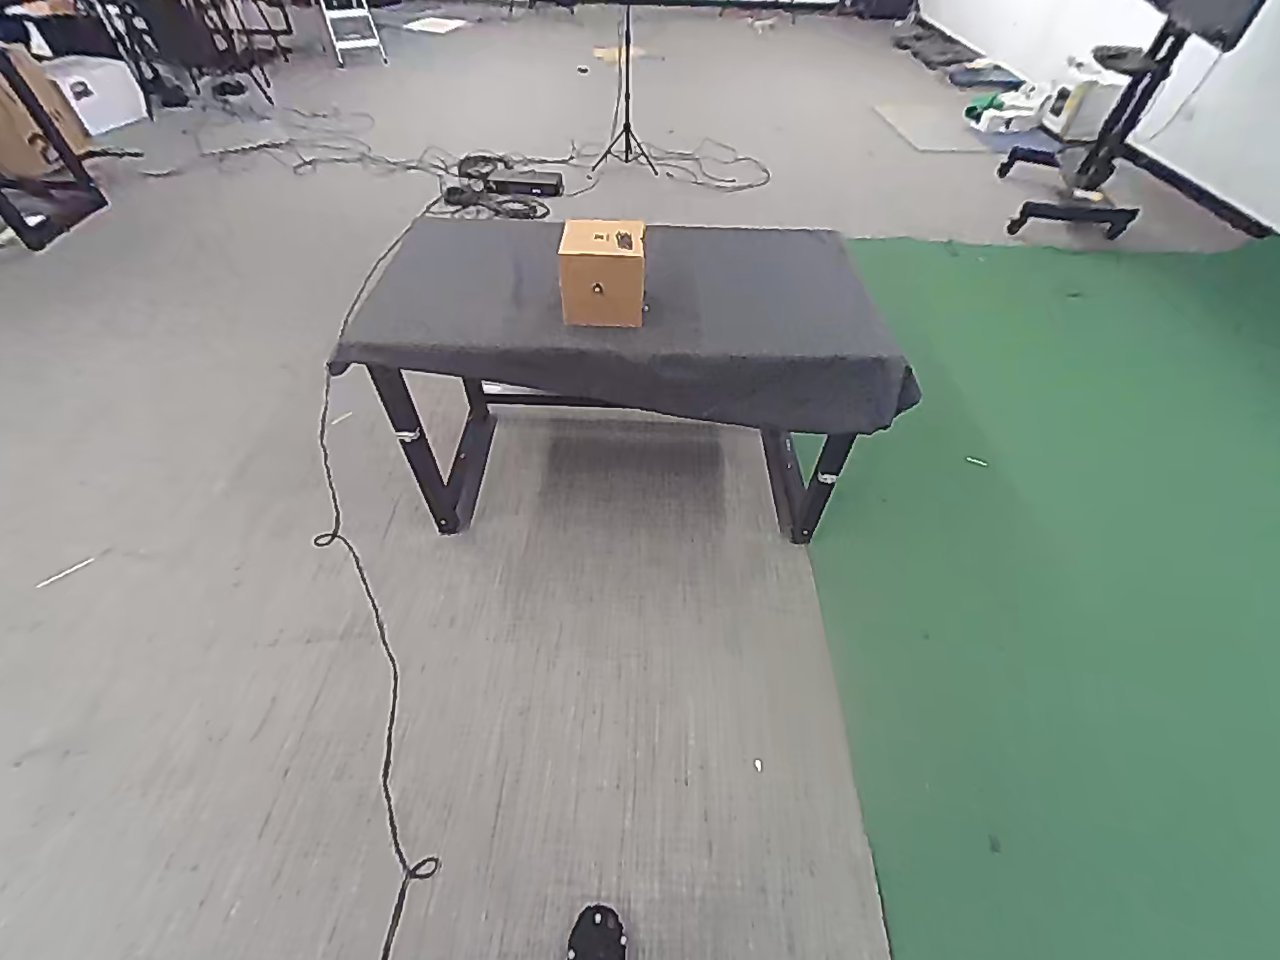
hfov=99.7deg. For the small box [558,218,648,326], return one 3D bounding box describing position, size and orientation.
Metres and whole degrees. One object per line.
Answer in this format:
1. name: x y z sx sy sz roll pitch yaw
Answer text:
1. small box: -0.077 -0.462 1.209 0.179 0.176 0.168 4 47 2
